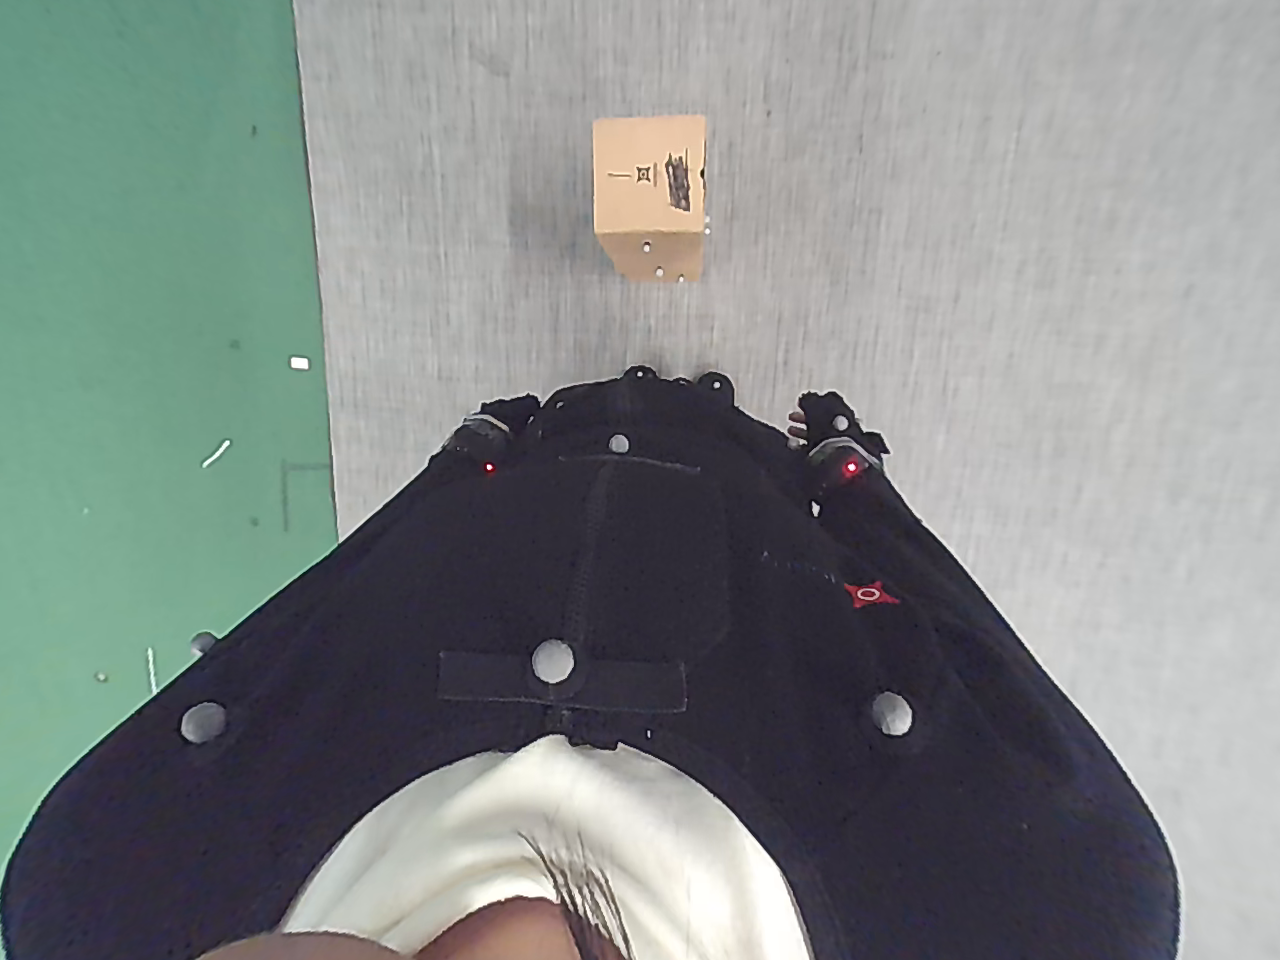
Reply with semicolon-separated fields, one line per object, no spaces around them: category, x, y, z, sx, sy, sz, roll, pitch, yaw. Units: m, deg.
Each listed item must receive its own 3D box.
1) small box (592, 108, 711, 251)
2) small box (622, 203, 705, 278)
small box;0.022;-0.493;0.911;0.179;0.176;0.168;5;100;4
small box;0.057;-0.561;1.233;0.179;0.176;0.168;2;101;7
